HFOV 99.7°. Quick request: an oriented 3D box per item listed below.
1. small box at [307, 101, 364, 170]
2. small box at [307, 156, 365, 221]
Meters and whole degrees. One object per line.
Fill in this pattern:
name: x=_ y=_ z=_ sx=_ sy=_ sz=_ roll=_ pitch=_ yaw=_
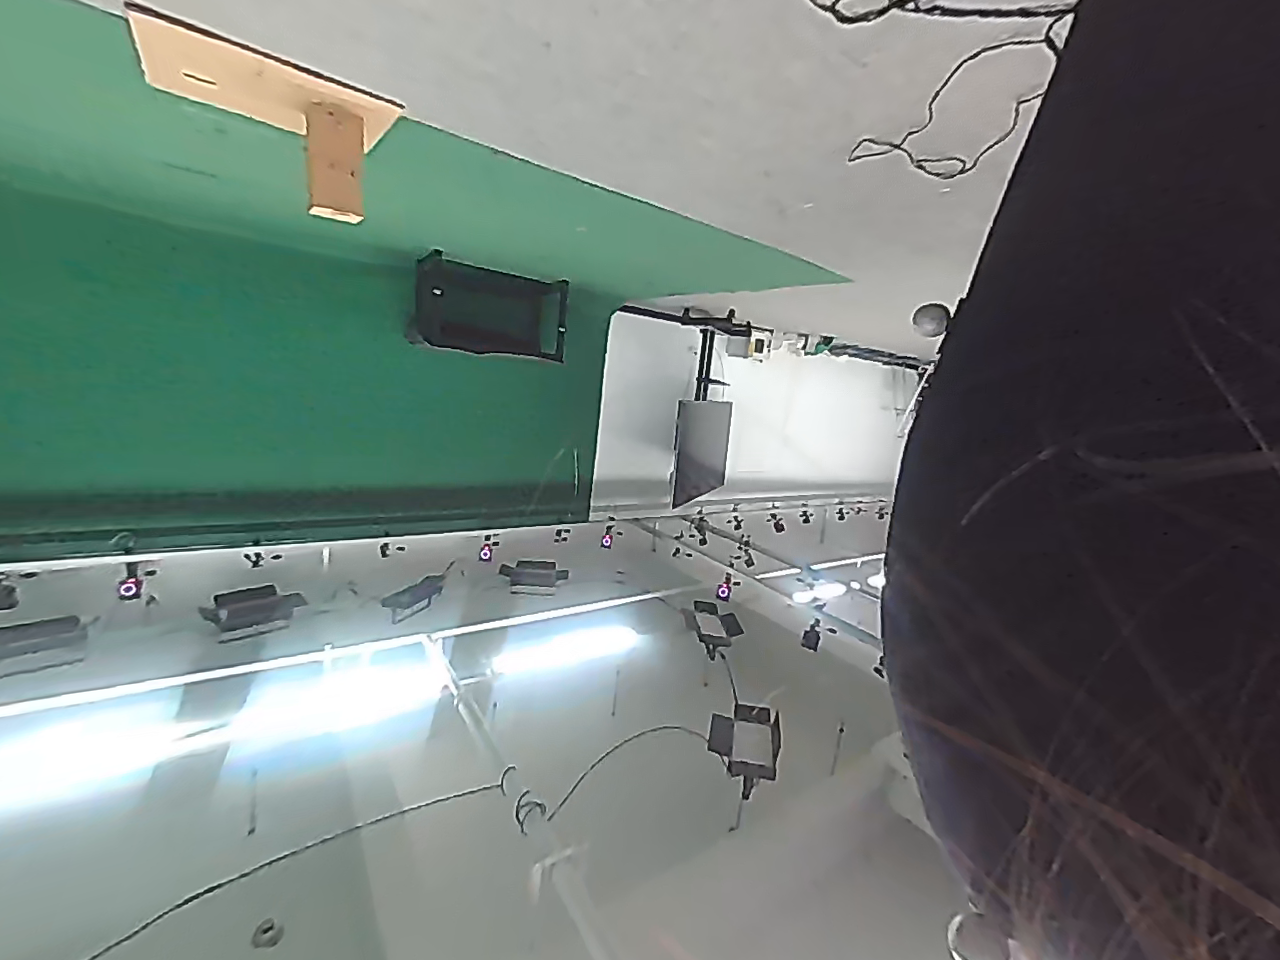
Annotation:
small box: x=-1.114 y=-1.242 z=1.976 sx=0.168 sy=0.176 sz=0.179 roll=-3 pitch=-166 yaw=-36
small box: x=-1.131 y=-1.082 z=2.009 sx=0.168 sy=0.176 sz=0.179 roll=-3 pitch=-165 yaw=-38
